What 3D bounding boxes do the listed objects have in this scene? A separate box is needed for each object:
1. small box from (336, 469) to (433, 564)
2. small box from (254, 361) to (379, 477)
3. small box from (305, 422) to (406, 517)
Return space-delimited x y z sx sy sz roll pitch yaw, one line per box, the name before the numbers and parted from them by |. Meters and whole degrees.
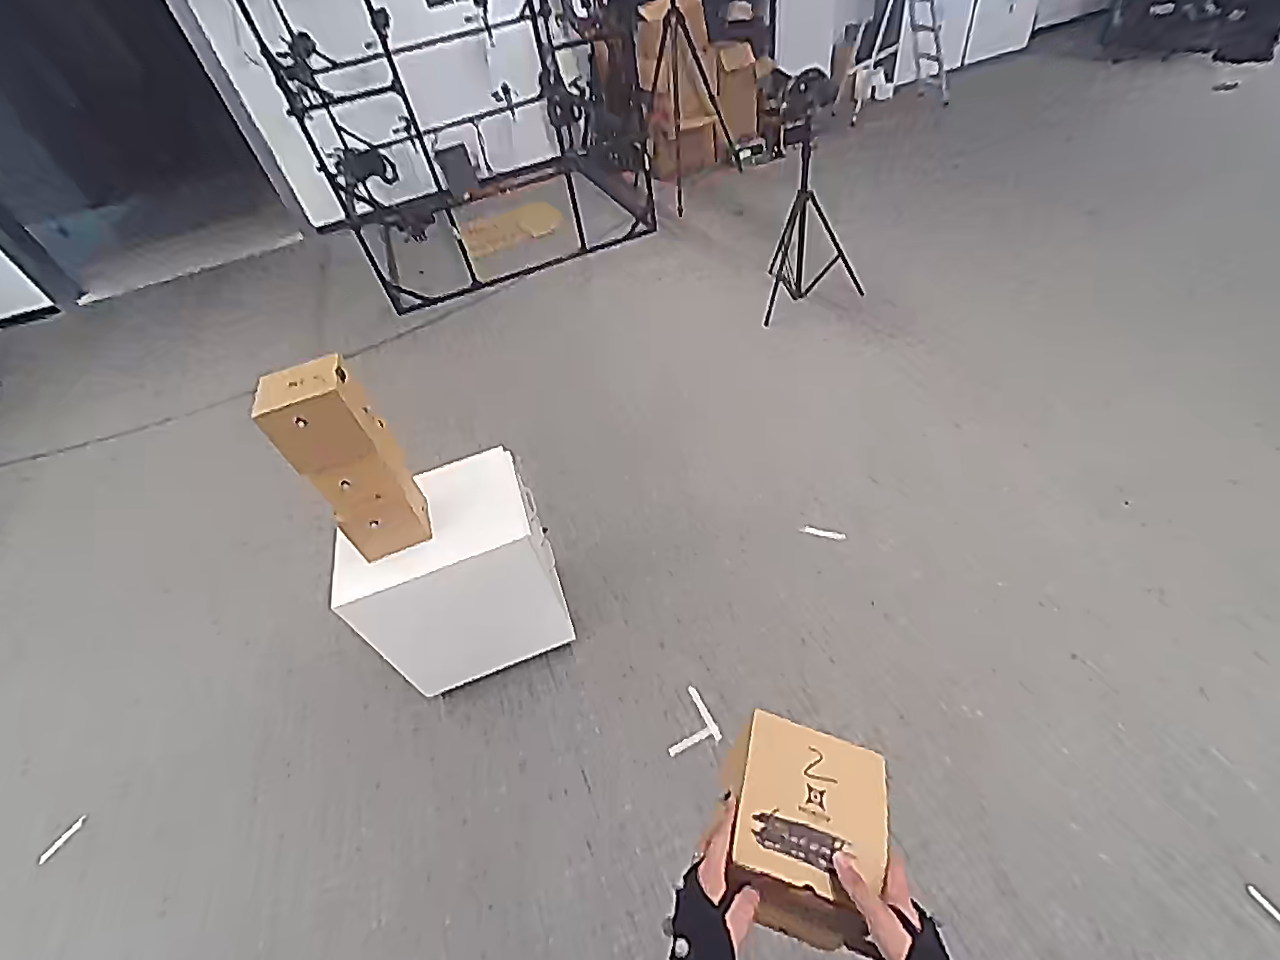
small box | -0.677 0.095 1.441 0.179 0.176 0.168 -21 46 -10
small box | -0.712 -0.134 1.209 0.179 0.176 0.168 -21 46 -9
small box | -0.695 -0.030 1.338 0.168 0.176 0.179 -21 45 -9
